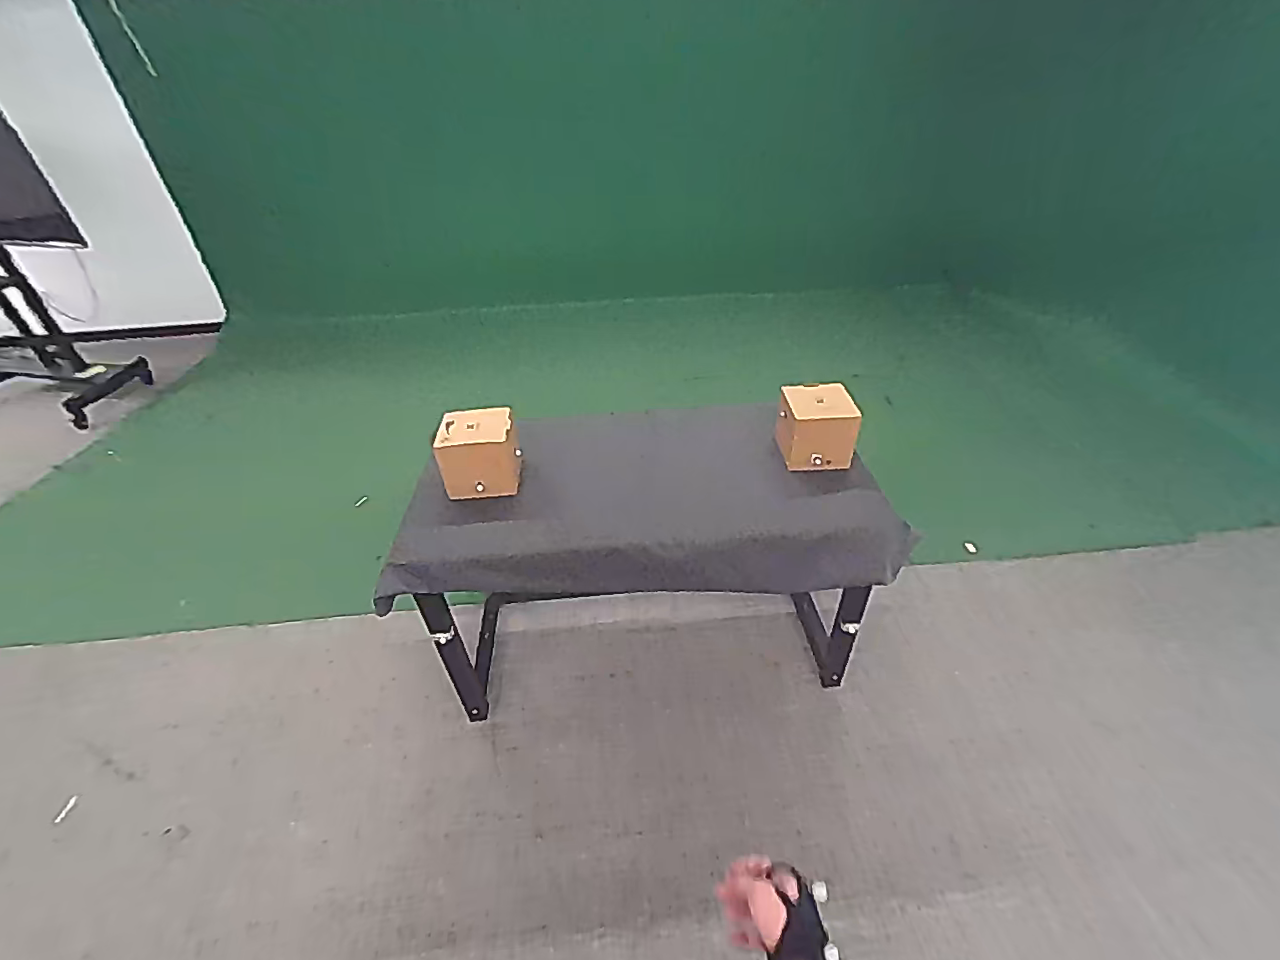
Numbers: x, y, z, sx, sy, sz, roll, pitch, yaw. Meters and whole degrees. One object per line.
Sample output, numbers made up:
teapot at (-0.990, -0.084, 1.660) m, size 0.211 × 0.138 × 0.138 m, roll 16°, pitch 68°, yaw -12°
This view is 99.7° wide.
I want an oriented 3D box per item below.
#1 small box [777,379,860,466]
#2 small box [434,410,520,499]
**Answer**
small box at (0.468, -0.155, 1.448) m, size 0.168 × 0.176 × 0.179 m, roll -3°, pitch 38°, yaw 4°
small box at (-0.415, -0.065, 1.415) m, size 0.179 × 0.176 × 0.168 m, roll -4°, pitch 38°, yaw -4°
